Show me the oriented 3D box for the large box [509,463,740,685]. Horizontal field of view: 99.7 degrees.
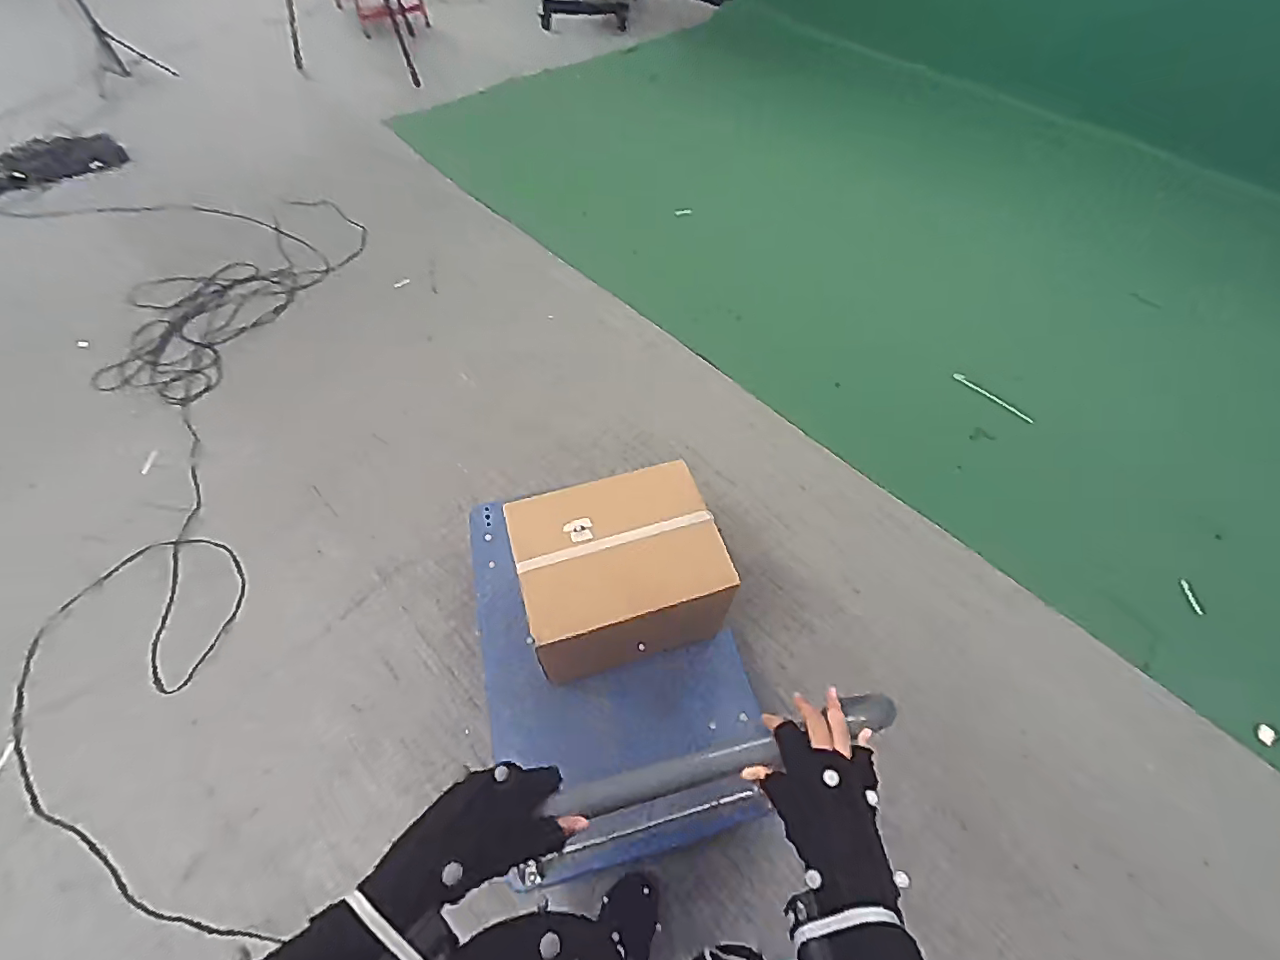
[{"bbox_3d":[-0.039,0.216,1.219,0.408,0.320,0.320,-17,58,-11],"label":"large box"}]
